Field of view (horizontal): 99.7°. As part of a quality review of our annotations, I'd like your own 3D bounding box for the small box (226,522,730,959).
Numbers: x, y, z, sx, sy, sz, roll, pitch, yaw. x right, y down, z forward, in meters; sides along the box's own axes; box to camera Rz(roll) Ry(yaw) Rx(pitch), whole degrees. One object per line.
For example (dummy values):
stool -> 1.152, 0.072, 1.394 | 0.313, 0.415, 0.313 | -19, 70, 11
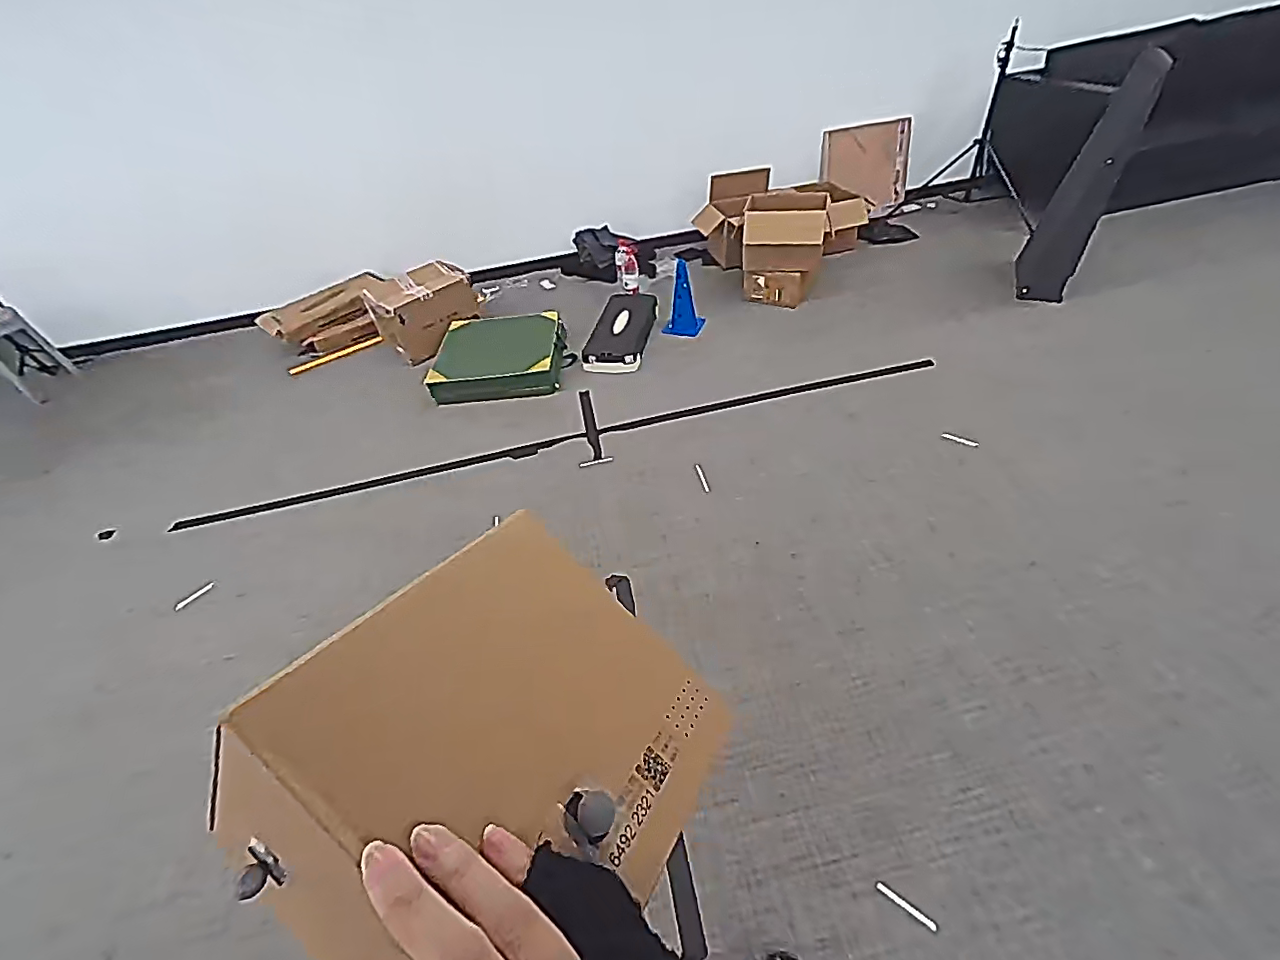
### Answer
small box -> -0.084, 0.163, 0.295 | 0.176, 0.179, 0.168 | 43, 38, 5
